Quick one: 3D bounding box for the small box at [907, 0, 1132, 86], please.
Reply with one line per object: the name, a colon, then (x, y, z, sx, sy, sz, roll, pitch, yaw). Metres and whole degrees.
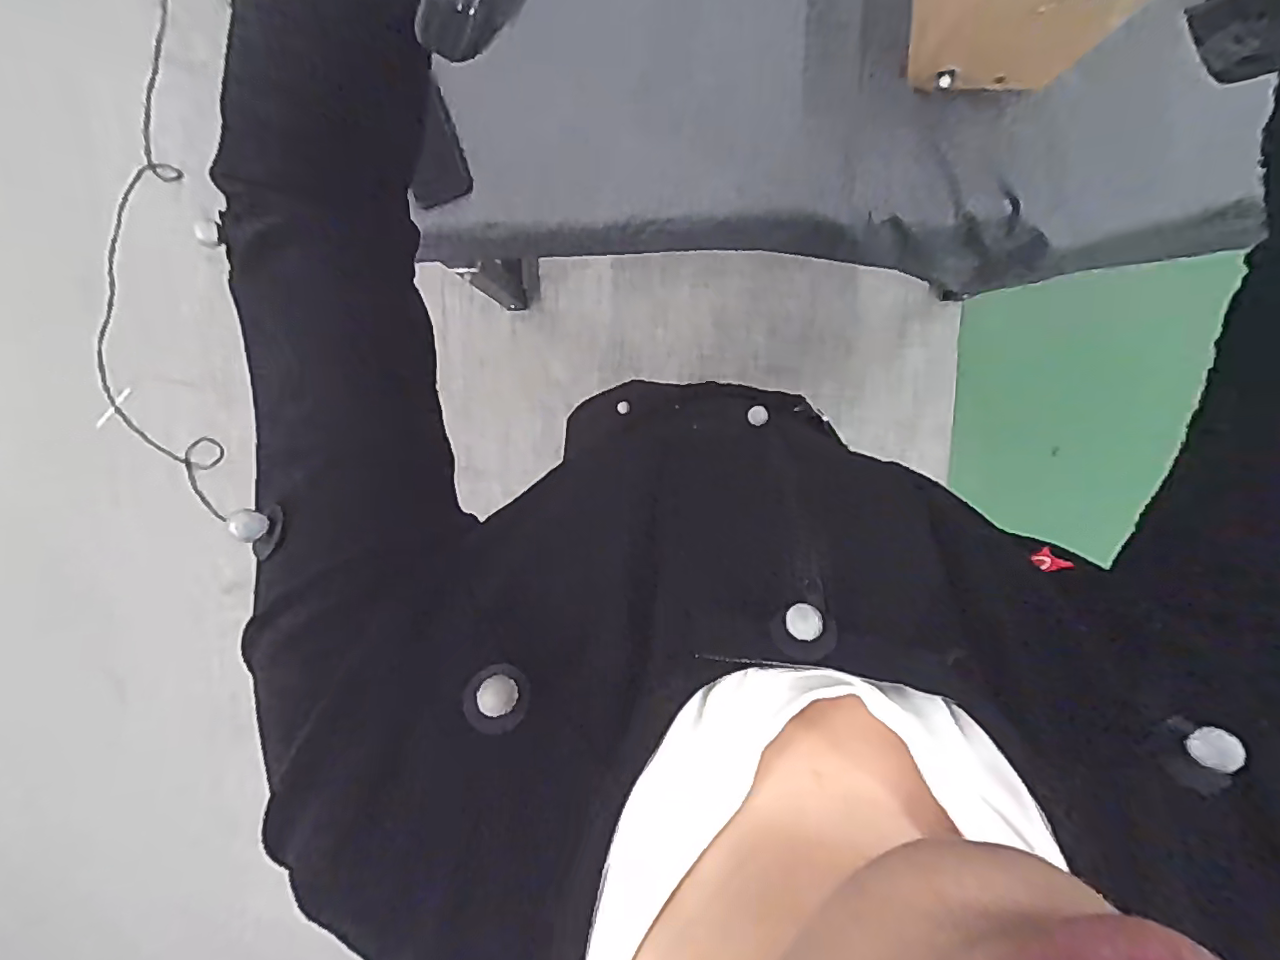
small box: (0.408, -0.559, 0.576, 0.168, 0.176, 0.179, 1, 97, -1)
